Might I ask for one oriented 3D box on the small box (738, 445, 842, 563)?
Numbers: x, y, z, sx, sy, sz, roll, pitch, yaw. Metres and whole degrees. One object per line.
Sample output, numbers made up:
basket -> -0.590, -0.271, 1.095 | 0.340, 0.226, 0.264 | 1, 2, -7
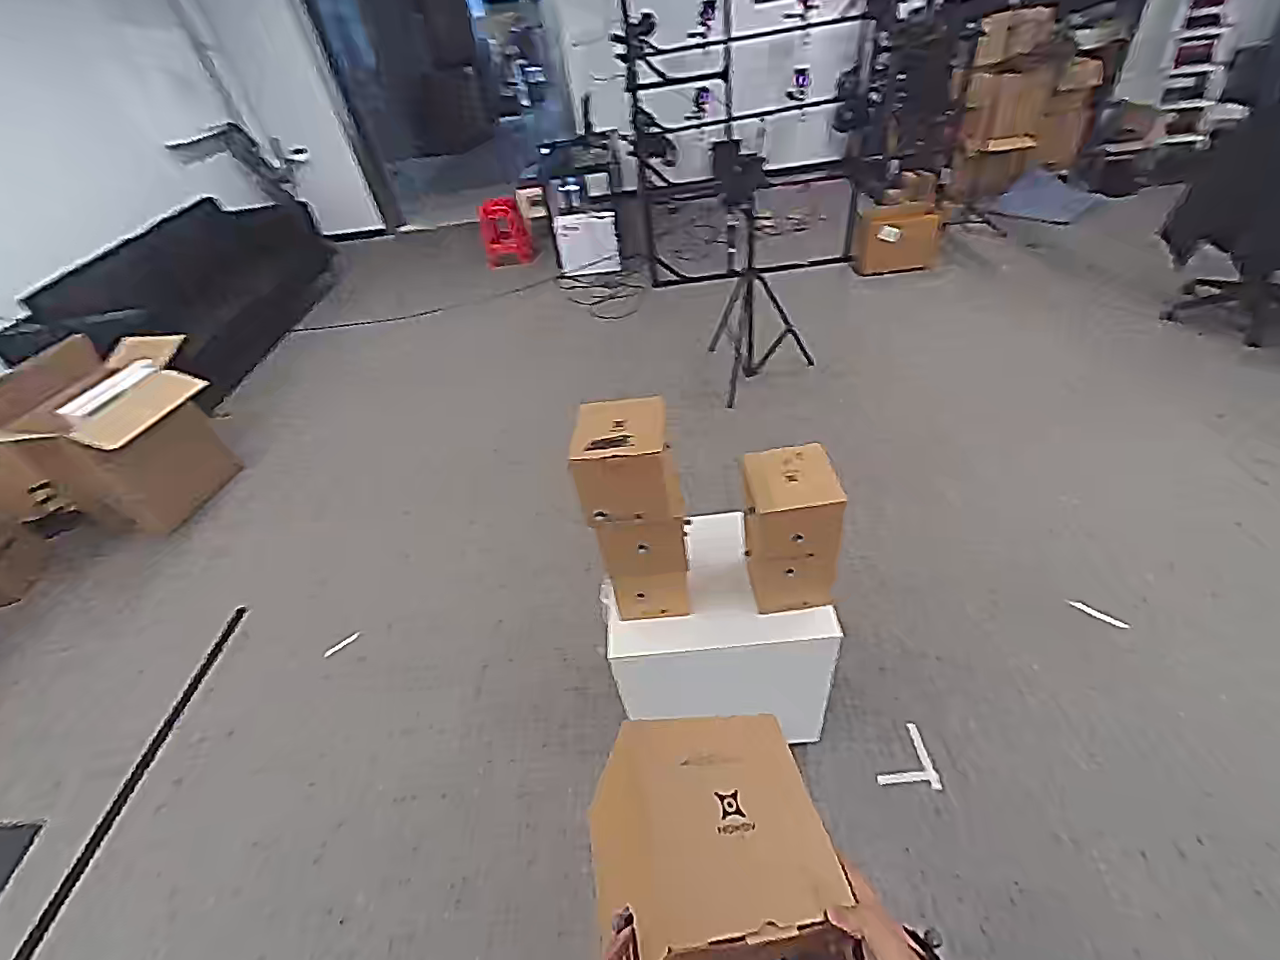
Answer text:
small box -> 0.300, 0.055, 1.106 | 0.168, 0.176, 0.179 | -8, 42, 3

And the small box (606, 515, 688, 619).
small box -> 0.018, 0.207, 1.248 | 0.168, 0.176, 0.179 | -6, 42, 4

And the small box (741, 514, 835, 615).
small box -> 0.324, 0.176, 1.216 | 0.168, 0.176, 0.179 | -9, 41, 3

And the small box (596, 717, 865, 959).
small box -> 0.063, 0.350, 0.502 | 0.168, 0.176, 0.179 | 6, 32, -19

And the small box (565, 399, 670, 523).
small box -> -0.033, -0.030, 1.025 | 0.168, 0.176, 0.179 | -4, 41, 7
